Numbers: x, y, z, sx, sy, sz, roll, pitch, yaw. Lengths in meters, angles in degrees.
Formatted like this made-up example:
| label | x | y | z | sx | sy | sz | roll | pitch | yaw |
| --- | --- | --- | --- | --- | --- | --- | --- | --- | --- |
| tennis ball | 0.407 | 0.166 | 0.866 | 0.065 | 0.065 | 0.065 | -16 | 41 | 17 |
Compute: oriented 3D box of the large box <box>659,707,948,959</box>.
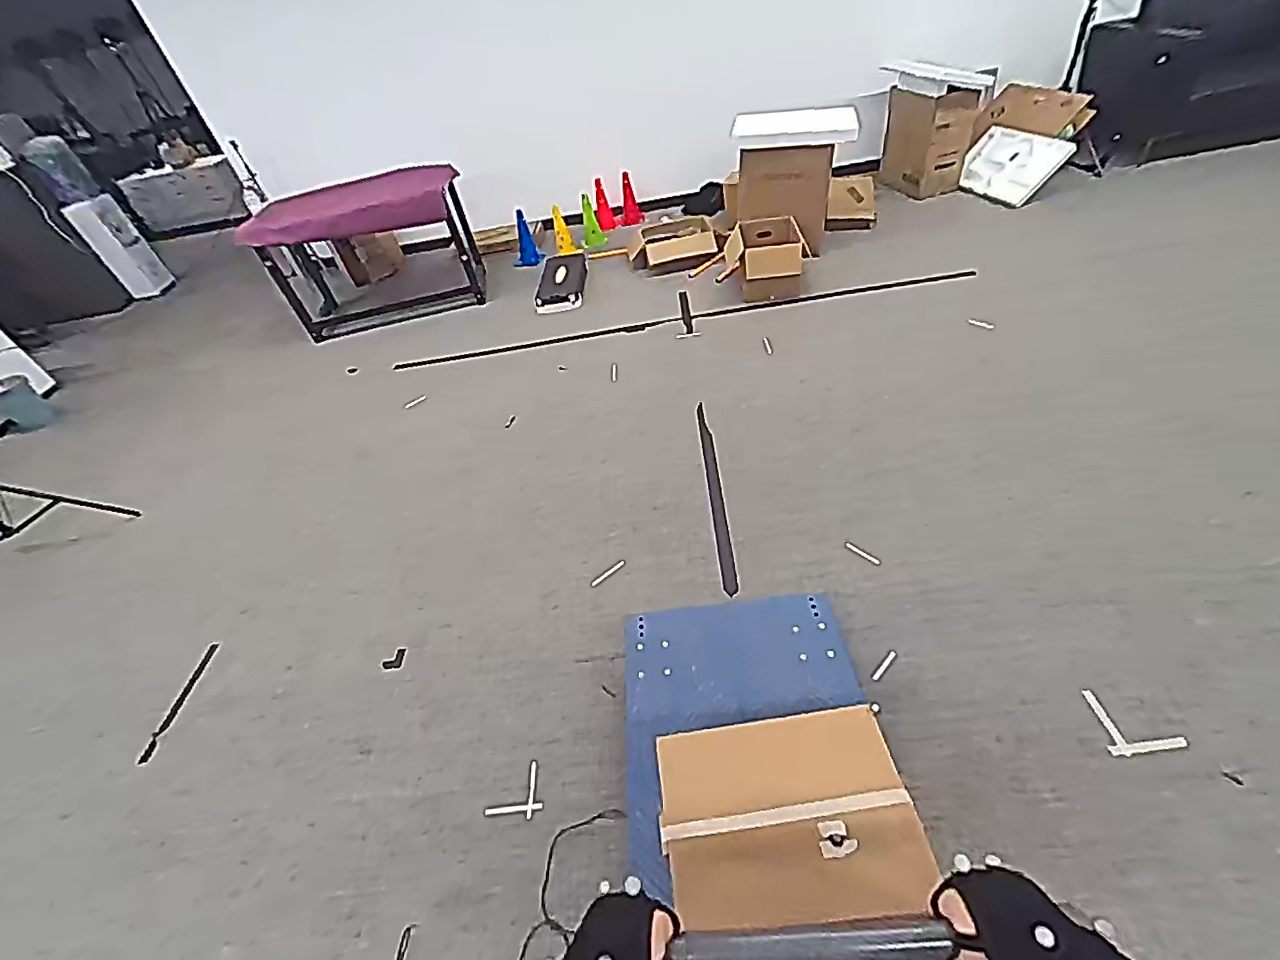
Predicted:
| label | x | y | z | sx | sy | sz | roll | pitch | yaw |
| --- | --- | --- | --- | --- | --- | --- | --- | --- | --- |
| large box | 0.264 | 0.669 | 1.006 | 0.408 | 0.320 | 0.320 | -9 | 44 | 1 |
